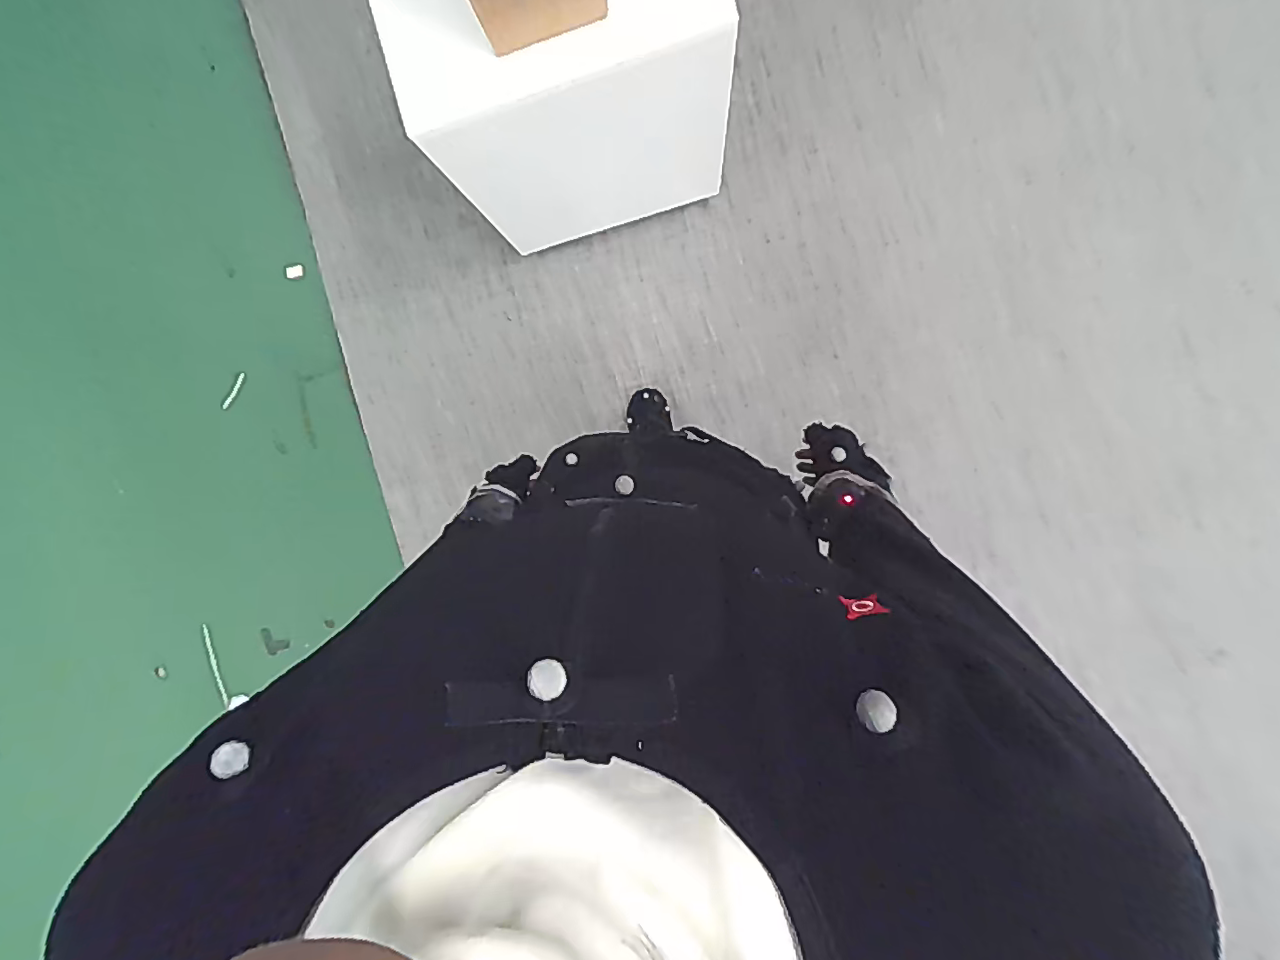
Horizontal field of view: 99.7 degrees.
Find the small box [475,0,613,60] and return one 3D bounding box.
[{"bbox_3d":[-0.147,-0.705,0.707,0.179,0.176,0.168,-15,93,6],"label":"small box"}]
